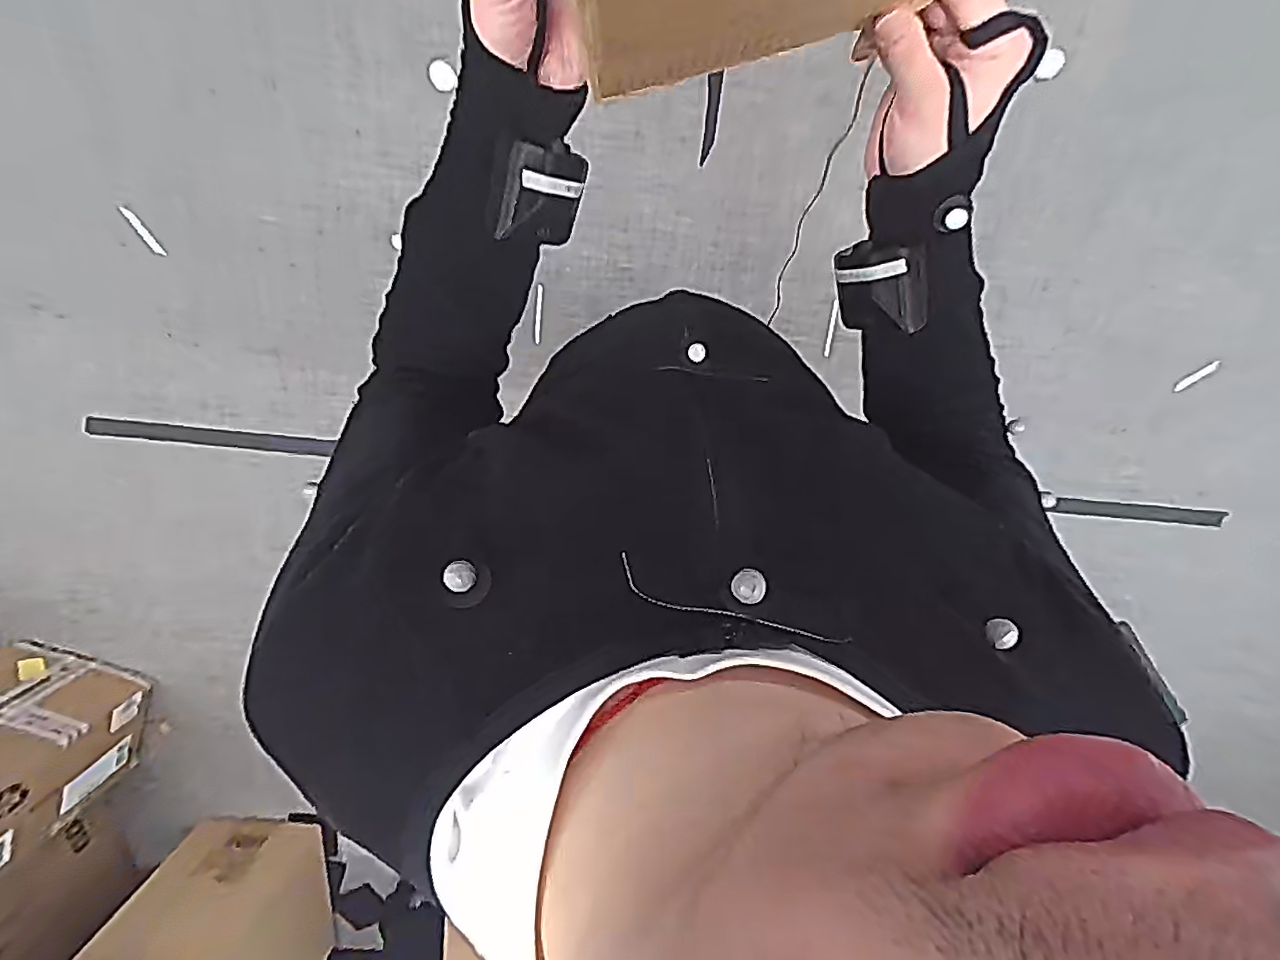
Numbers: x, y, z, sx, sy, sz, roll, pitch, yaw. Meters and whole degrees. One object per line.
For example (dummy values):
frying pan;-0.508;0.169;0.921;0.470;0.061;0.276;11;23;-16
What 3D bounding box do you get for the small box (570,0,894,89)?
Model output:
small box;0.041;-0.273;0.190;0.179;0.176;0.168;-14;111;3
